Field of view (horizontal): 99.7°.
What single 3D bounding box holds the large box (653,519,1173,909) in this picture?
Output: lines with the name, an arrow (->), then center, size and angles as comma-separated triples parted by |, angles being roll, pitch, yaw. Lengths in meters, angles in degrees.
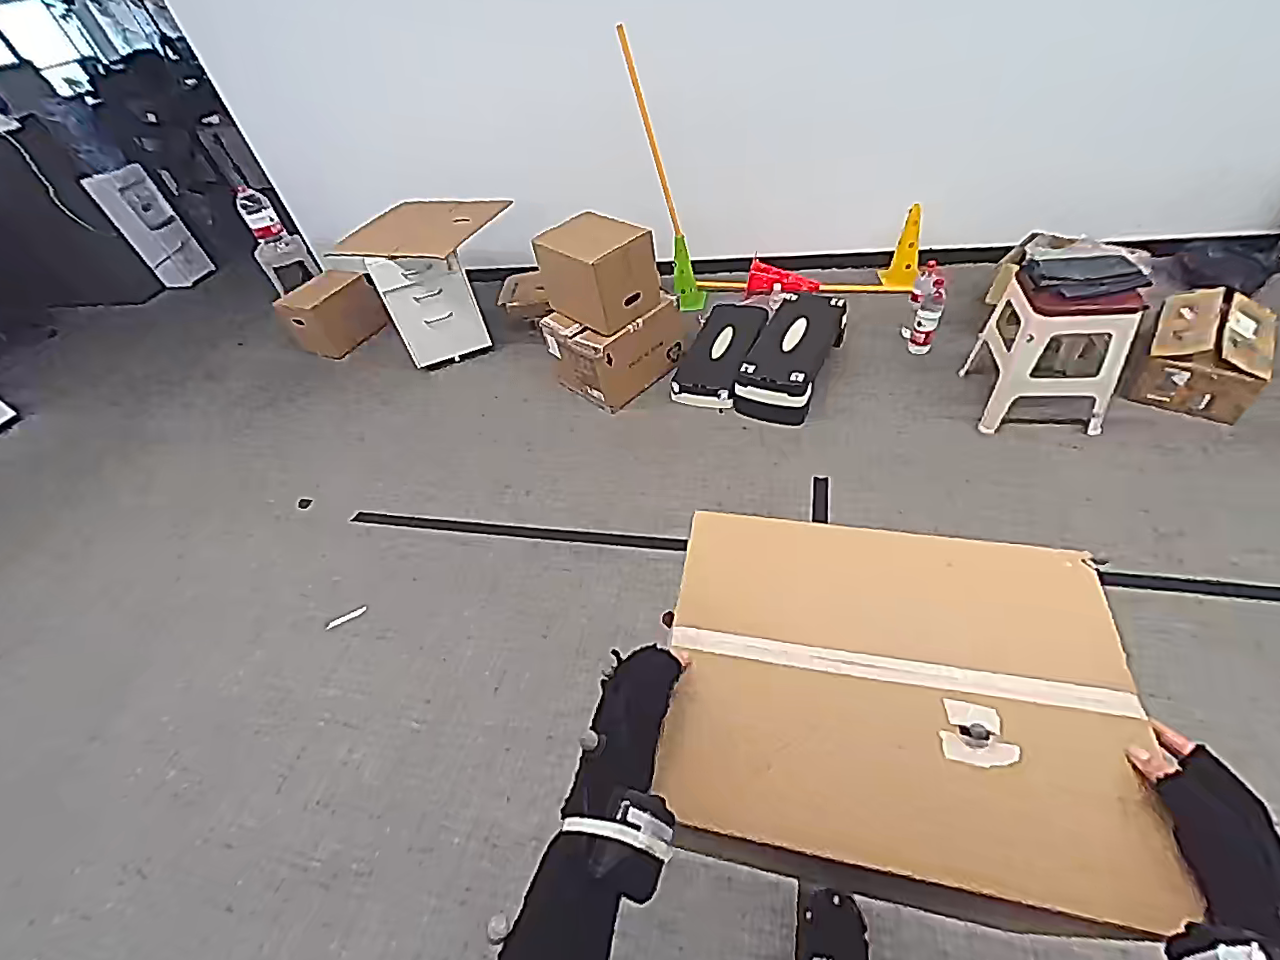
large box -> 0.245, 0.272, 0.640 | 0.408, 0.320, 0.320 | 5, 54, 12
